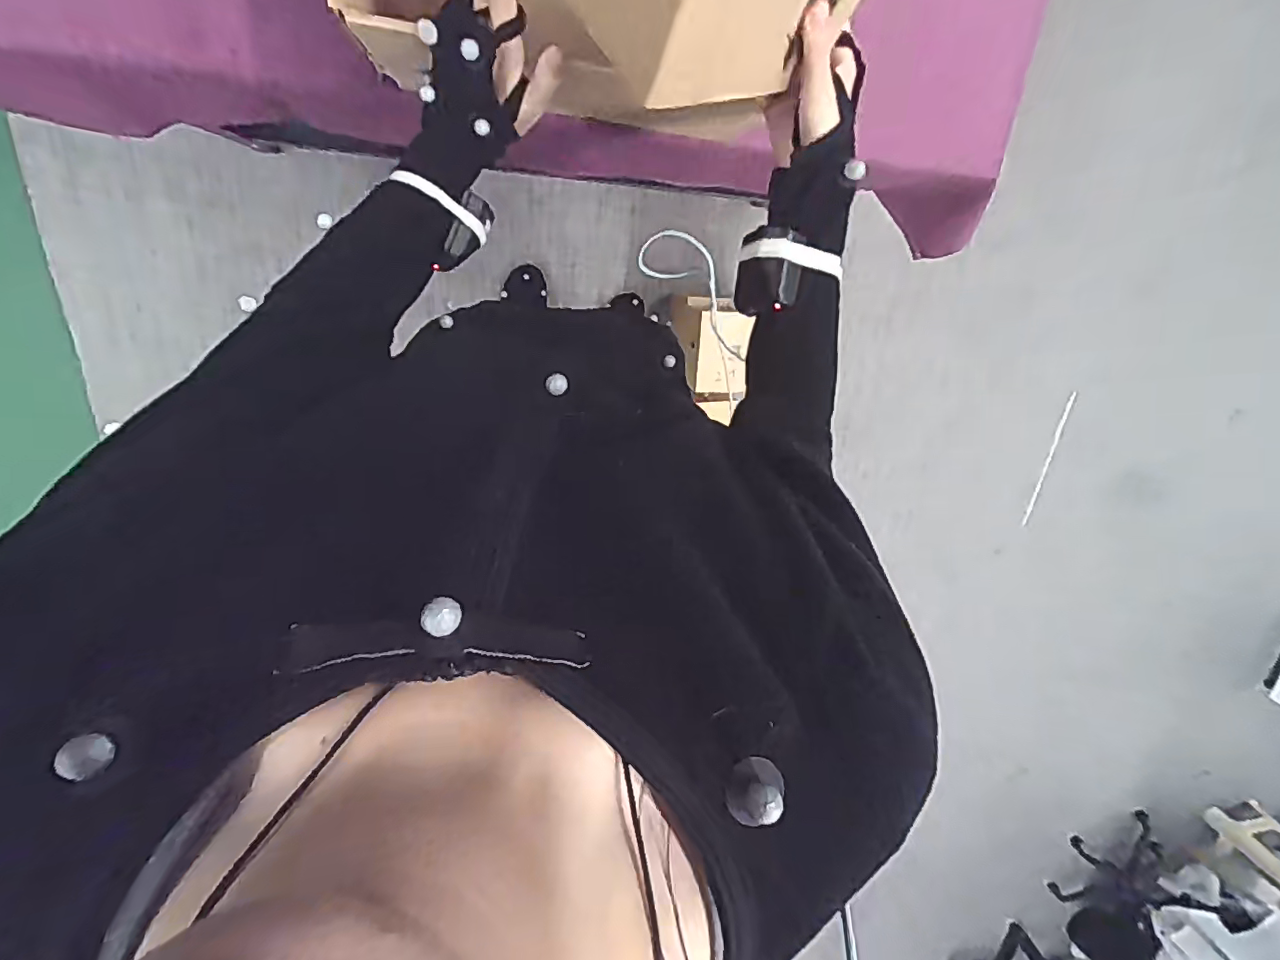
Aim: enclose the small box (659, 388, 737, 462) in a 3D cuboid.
[{"bbox_3d":[0.151,-0.155,1.481,0.179,0.176,0.168,-4,112,-10],"label":"small box"}]
